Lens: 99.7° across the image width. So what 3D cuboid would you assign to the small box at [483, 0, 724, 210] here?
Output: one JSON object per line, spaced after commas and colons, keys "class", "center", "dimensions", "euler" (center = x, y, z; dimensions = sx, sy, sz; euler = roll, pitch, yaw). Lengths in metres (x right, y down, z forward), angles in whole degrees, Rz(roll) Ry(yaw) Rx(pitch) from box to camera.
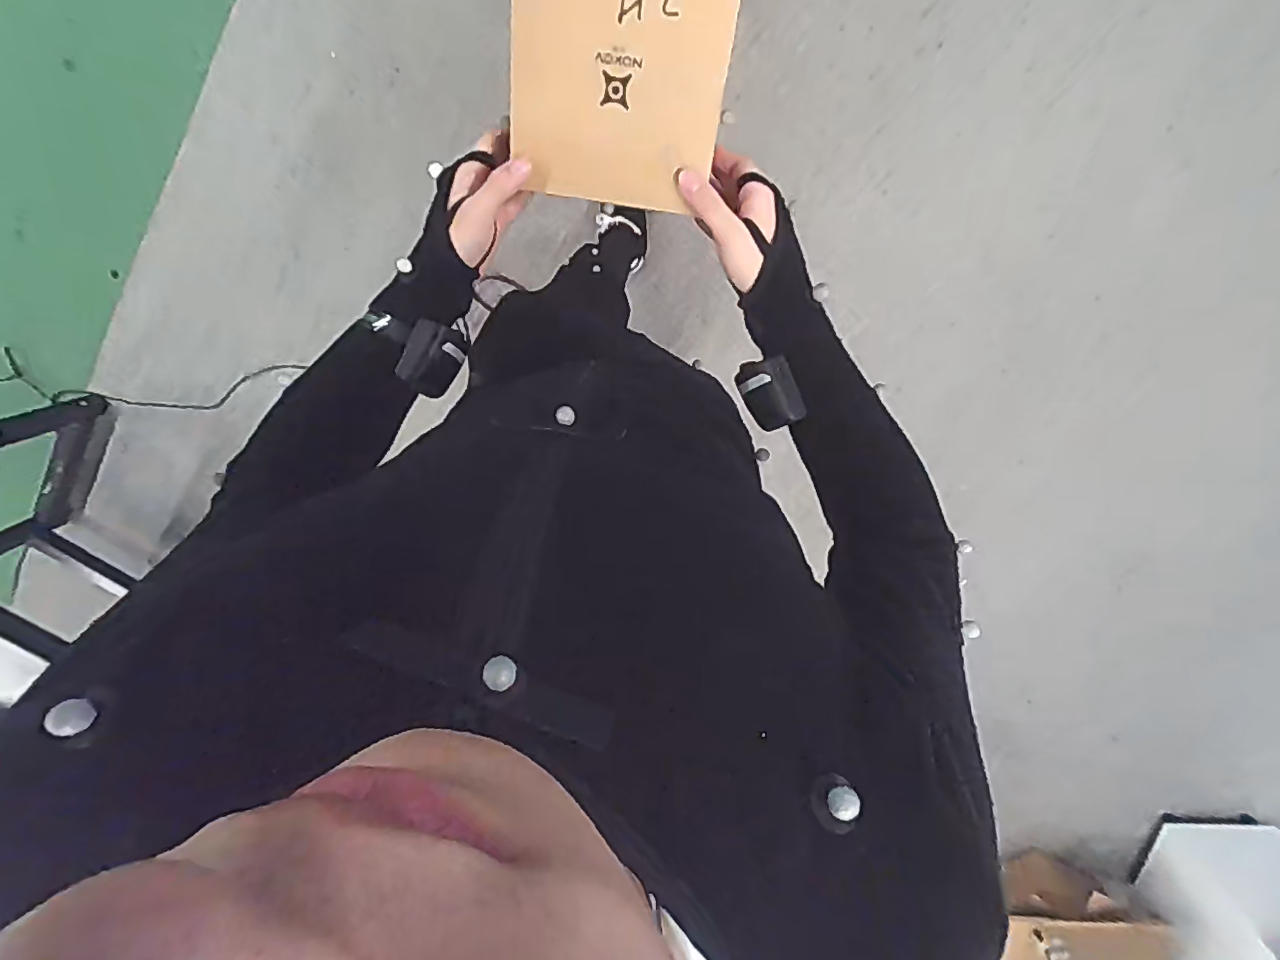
{"class": "small box", "center": [-0.028, -0.347, 0.458], "dimensions": [0.168, 0.176, 0.179], "euler": [9, 121, -4]}
